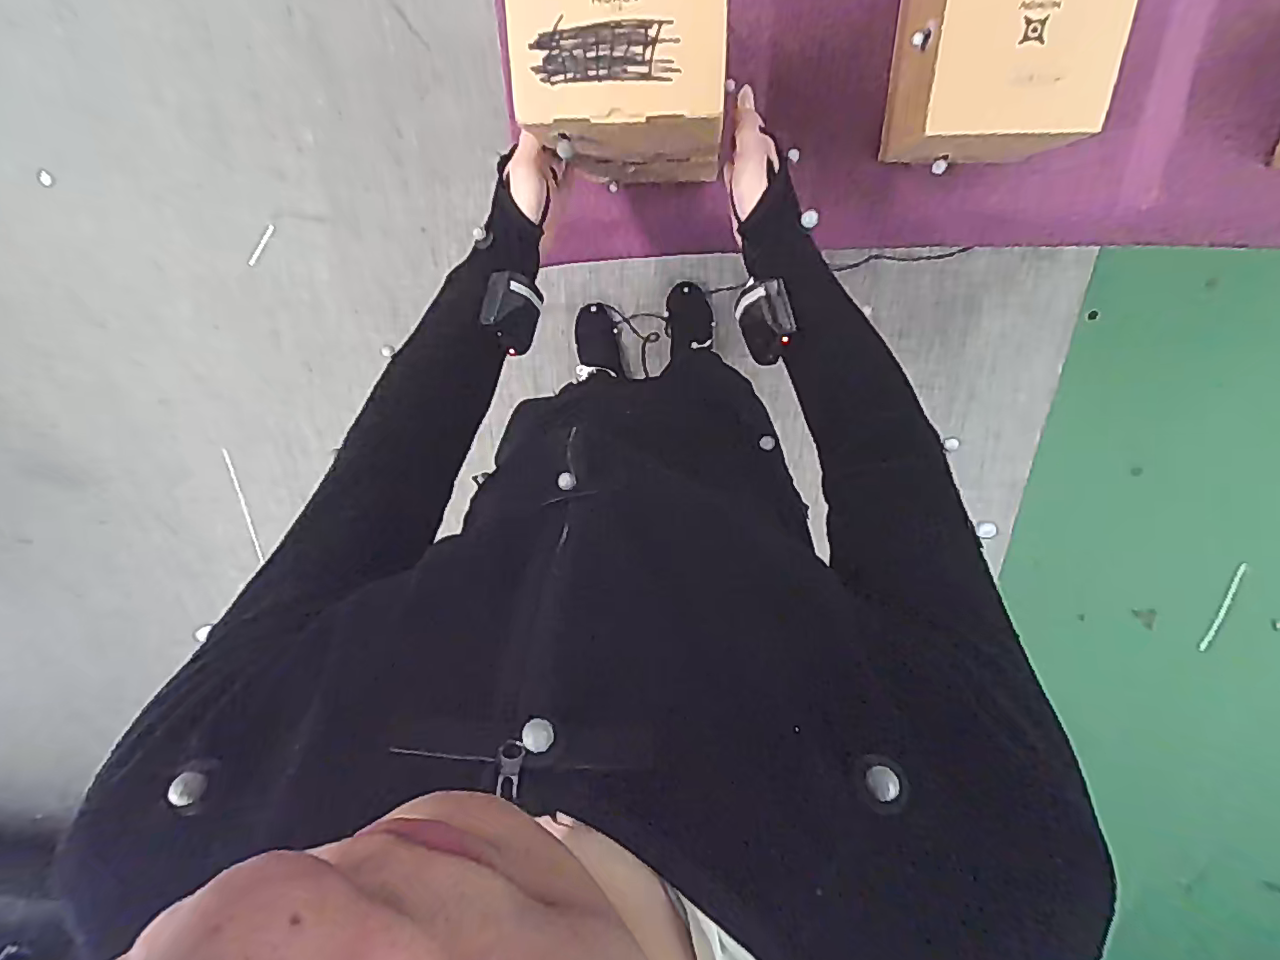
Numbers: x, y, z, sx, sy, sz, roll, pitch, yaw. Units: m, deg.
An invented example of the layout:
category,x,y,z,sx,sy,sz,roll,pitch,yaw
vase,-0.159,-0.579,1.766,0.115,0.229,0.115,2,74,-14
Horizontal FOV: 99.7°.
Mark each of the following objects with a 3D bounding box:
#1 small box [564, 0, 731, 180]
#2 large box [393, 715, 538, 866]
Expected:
category,x,y,z,sx,sy,sz,roll,pitch,yaw
small box,0.014,-0.448,0.613,0.168,0.176,0.179,2,112,5
large box,-0.658,1.183,2.080,0.408,0.320,0.320,24,113,-5
